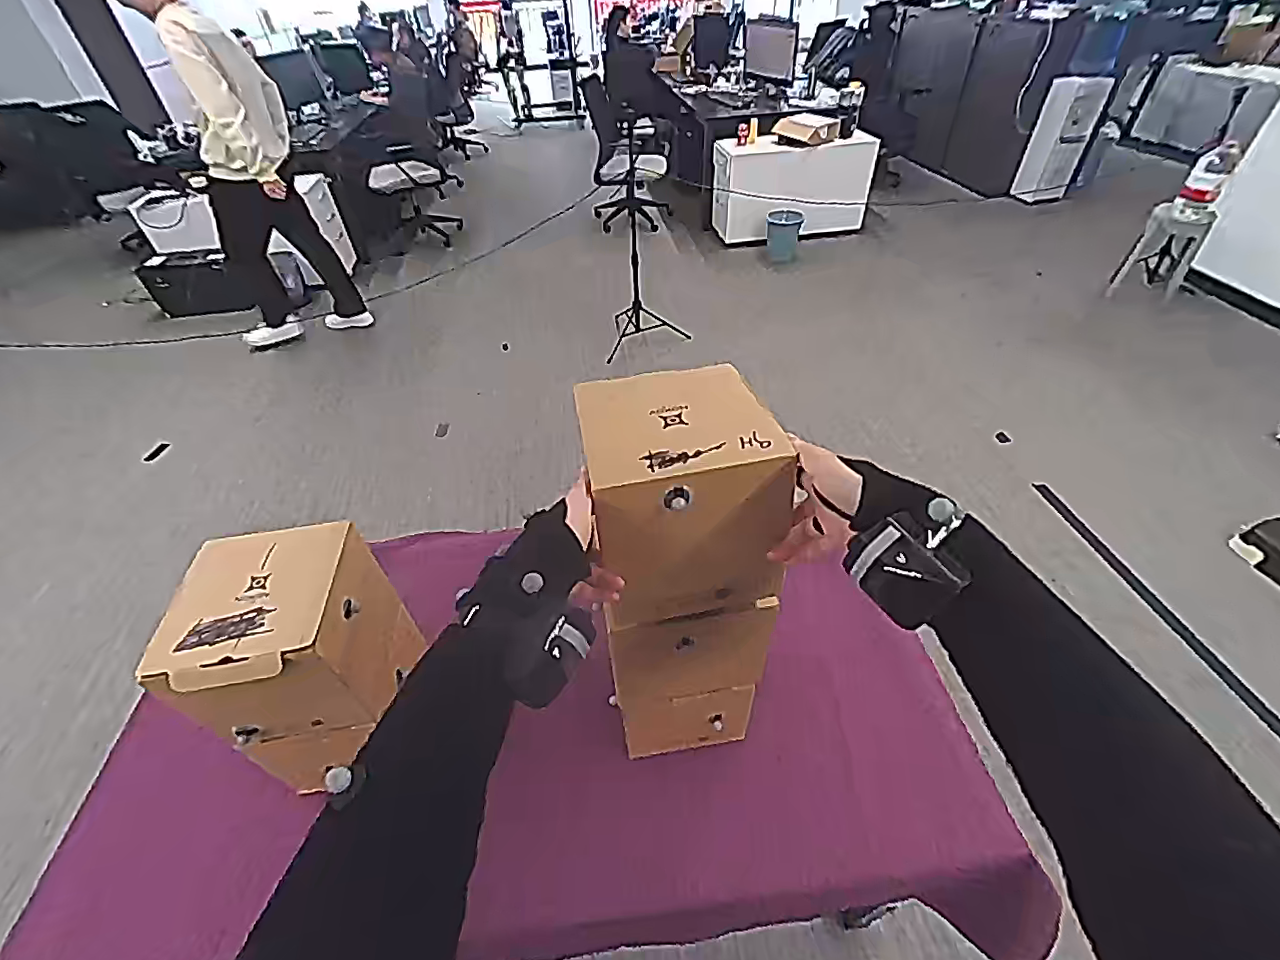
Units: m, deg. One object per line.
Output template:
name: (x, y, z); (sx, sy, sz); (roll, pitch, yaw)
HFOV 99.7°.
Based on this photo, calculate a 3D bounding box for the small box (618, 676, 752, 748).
small box: (0.050, 0.256, 0.758); (0.168, 0.176, 0.179); (-7, 43, -4)

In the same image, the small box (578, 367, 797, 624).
small box: (0.035, 0.010, 0.527); (0.168, 0.176, 0.179); (-10, 37, -5)

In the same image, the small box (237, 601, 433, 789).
small box: (-0.397, 0.296, 0.746); (0.168, 0.176, 0.179); (-8, 45, -5)

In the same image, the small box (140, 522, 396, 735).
small box: (-0.405, 0.177, 0.633); (0.168, 0.176, 0.179); (-8, 44, -6)

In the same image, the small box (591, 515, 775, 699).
small box: (0.043, 0.140, 0.642); (0.179, 0.176, 0.168); (-8, 44, -5)
